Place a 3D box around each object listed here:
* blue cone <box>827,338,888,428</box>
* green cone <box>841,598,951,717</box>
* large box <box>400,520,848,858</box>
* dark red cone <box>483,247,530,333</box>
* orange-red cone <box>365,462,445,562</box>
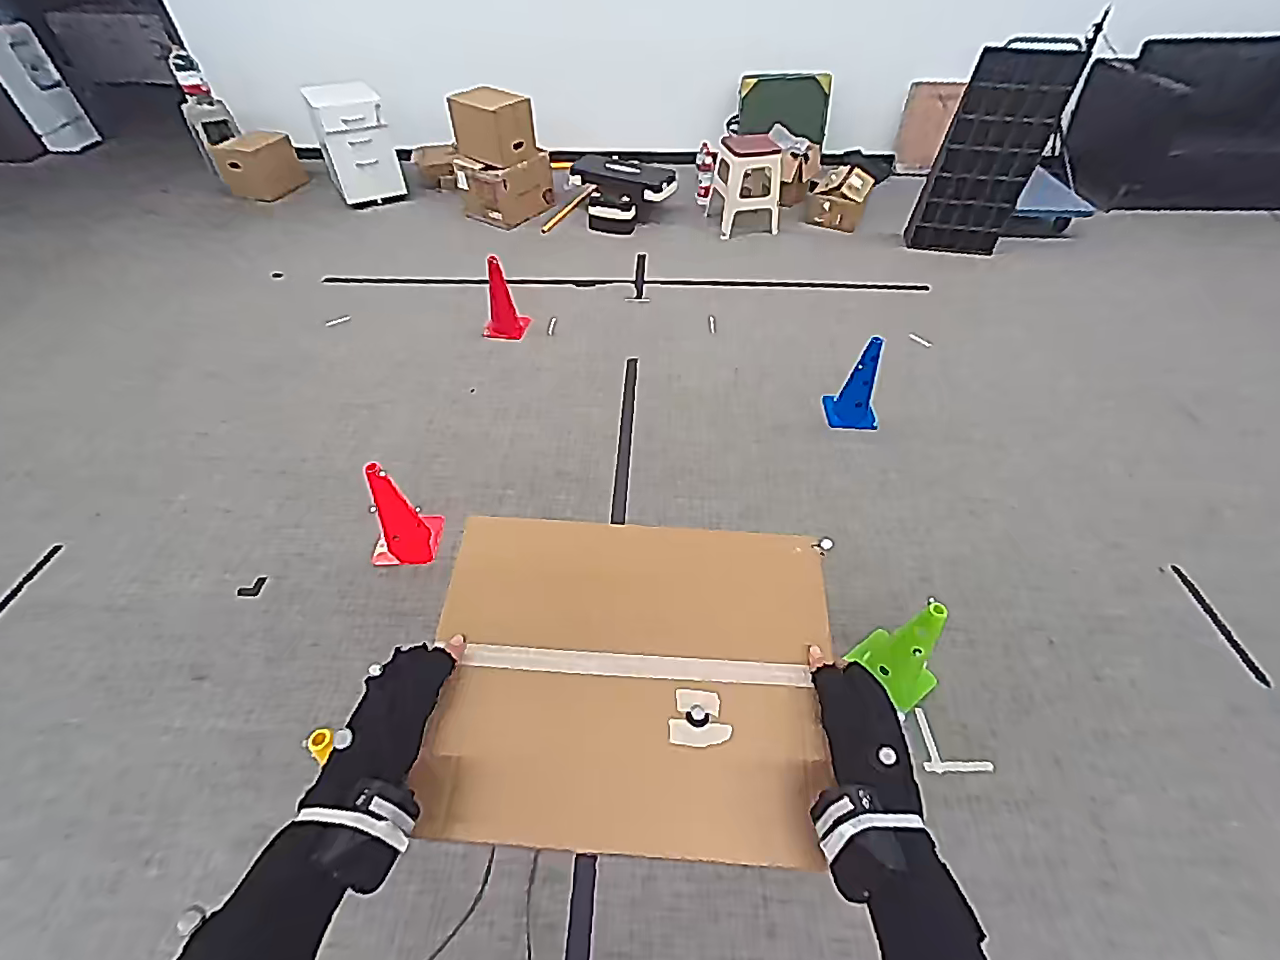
[{"bbox_3d":[0.893,-0.395,2.148,0.192,0.380,0.193,5,48,3],"label":"blue cone"},{"bbox_3d":[0.698,0.417,1.384,0.202,0.368,0.200,-27,54,-24],"label":"green cone"},{"bbox_3d":[-0.010,0.266,0.675,0.408,0.320,0.320,4,58,2],"label":"large box"},{"bbox_3d":[-0.652,-0.894,2.543,0.201,0.394,0.202,7,48,4],"label":"dark red cone"},{"bbox_3d":[-0.771,0.079,1.689,0.198,0.360,0.199,-1,49,0],"label":"orange-red cone"}]
